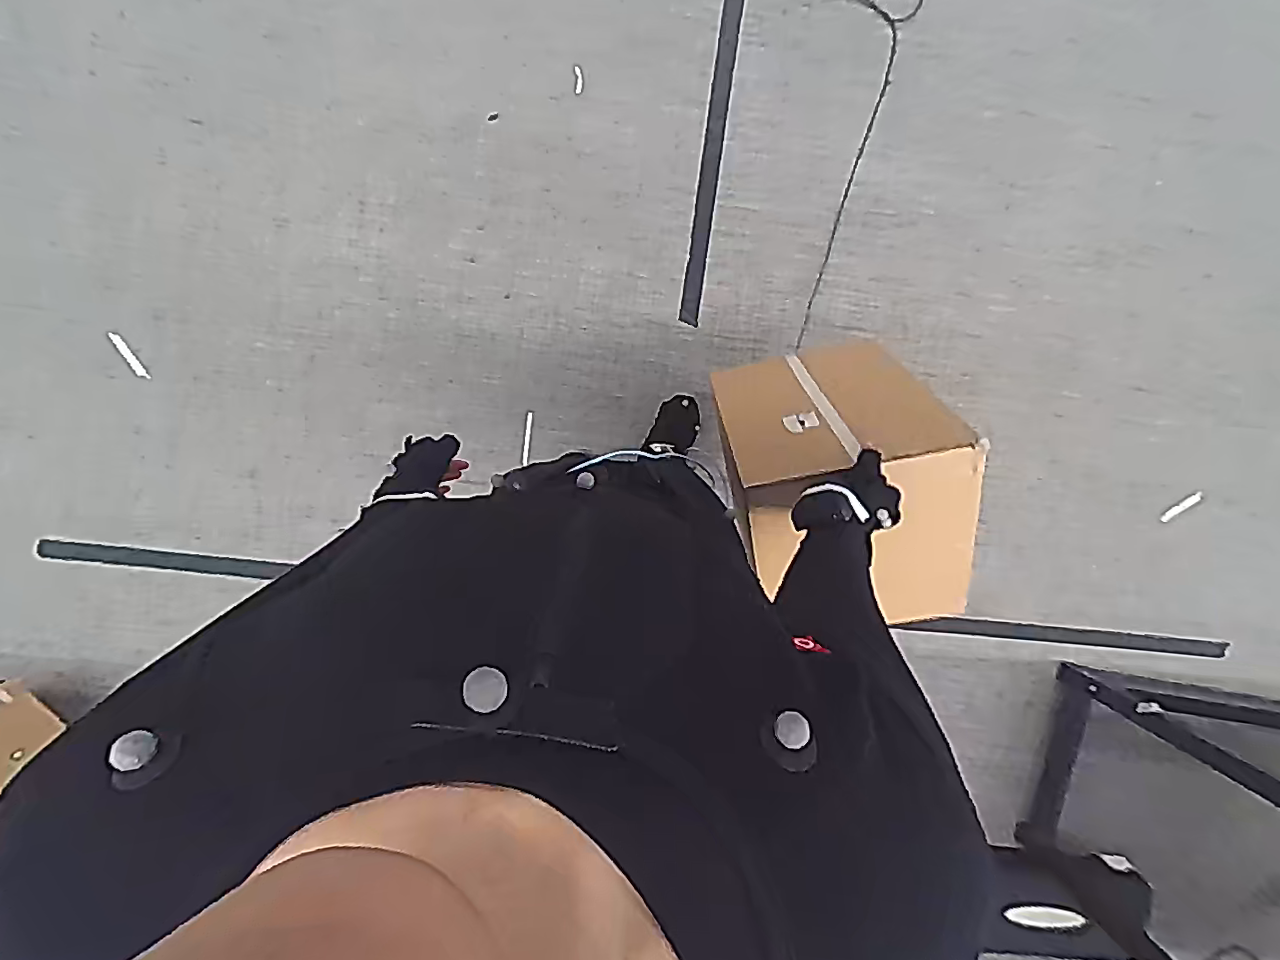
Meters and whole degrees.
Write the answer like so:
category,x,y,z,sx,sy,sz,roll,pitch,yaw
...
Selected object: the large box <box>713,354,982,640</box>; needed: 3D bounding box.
category,x,y,z,sx,sy,sz,roll,pitch,yaw
large box,0.322,0.013,0.961,0.320,0.408,0.320,-10,123,7
